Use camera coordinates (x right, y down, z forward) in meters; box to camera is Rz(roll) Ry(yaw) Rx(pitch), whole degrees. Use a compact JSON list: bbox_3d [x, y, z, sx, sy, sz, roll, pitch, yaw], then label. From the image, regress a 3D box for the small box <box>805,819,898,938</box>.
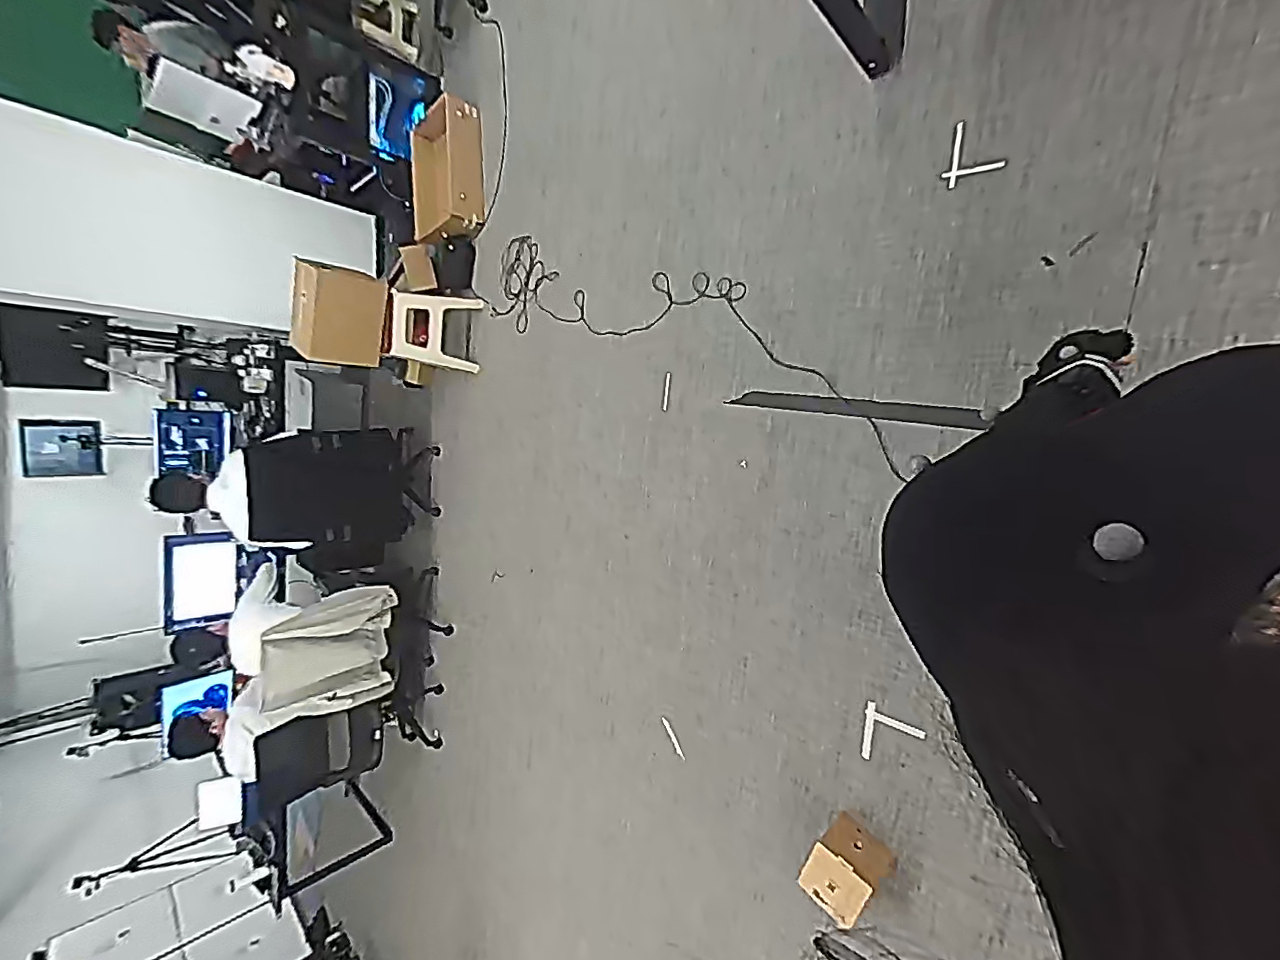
[{"bbox_3d":[0.601,1.111,1.525,0.168,0.176,0.179,31,112,39],"label":"small box"}]
